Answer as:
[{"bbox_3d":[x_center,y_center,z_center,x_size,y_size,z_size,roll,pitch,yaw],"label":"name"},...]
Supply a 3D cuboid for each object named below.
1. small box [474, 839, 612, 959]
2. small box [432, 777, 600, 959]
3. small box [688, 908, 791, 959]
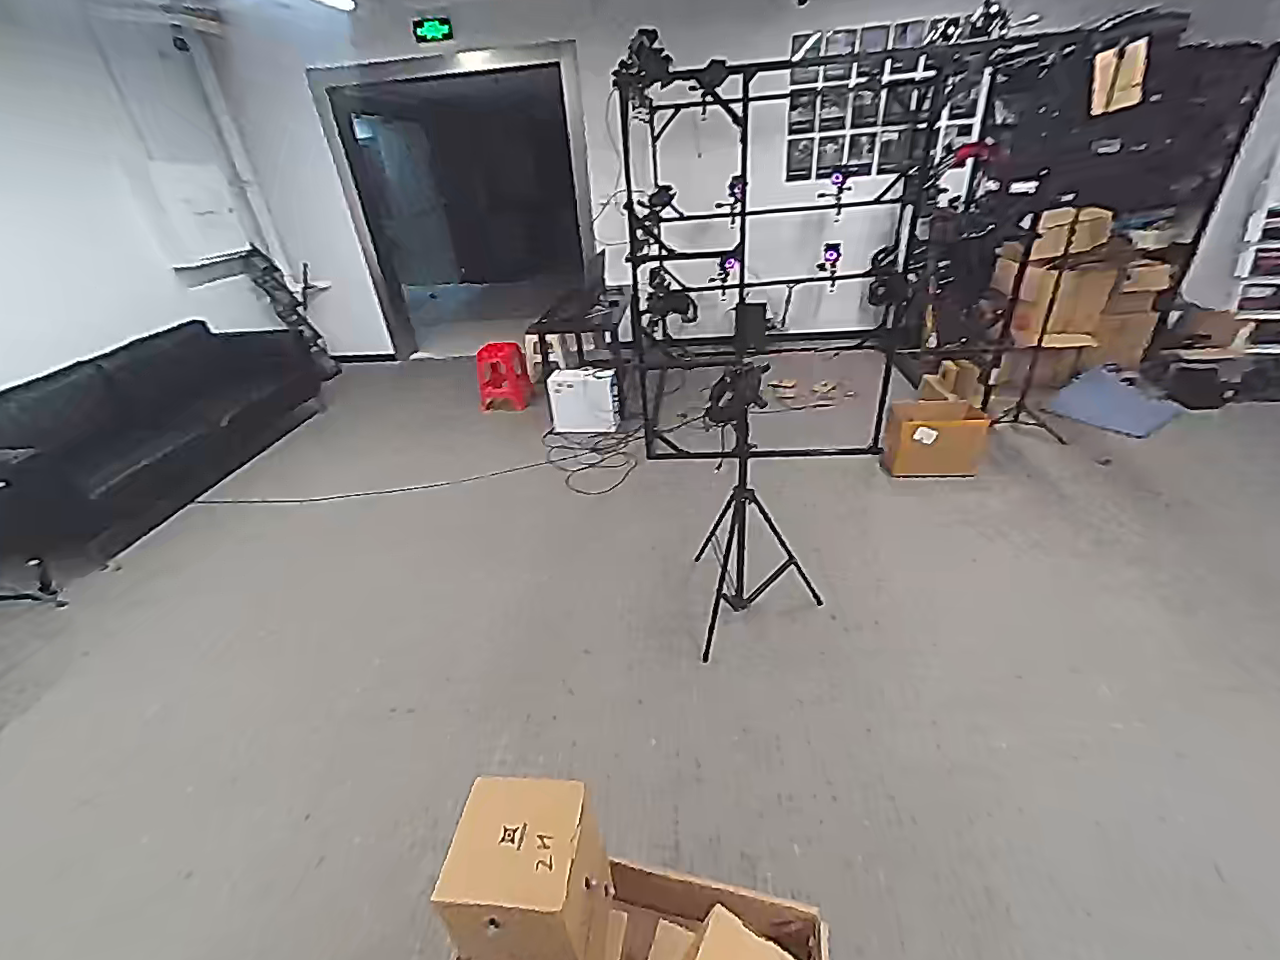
[{"bbox_3d":[-0.140,0.701,0.859,0.168,0.176,0.179,-1,30,8],"label":"small box"},{"bbox_3d":[-0.164,0.560,0.779,0.179,0.176,0.168,0,30,8],"label":"small box"},{"bbox_3d":[0.098,0.592,0.532,0.168,0.176,0.179,25,36,20],"label":"small box"}]
